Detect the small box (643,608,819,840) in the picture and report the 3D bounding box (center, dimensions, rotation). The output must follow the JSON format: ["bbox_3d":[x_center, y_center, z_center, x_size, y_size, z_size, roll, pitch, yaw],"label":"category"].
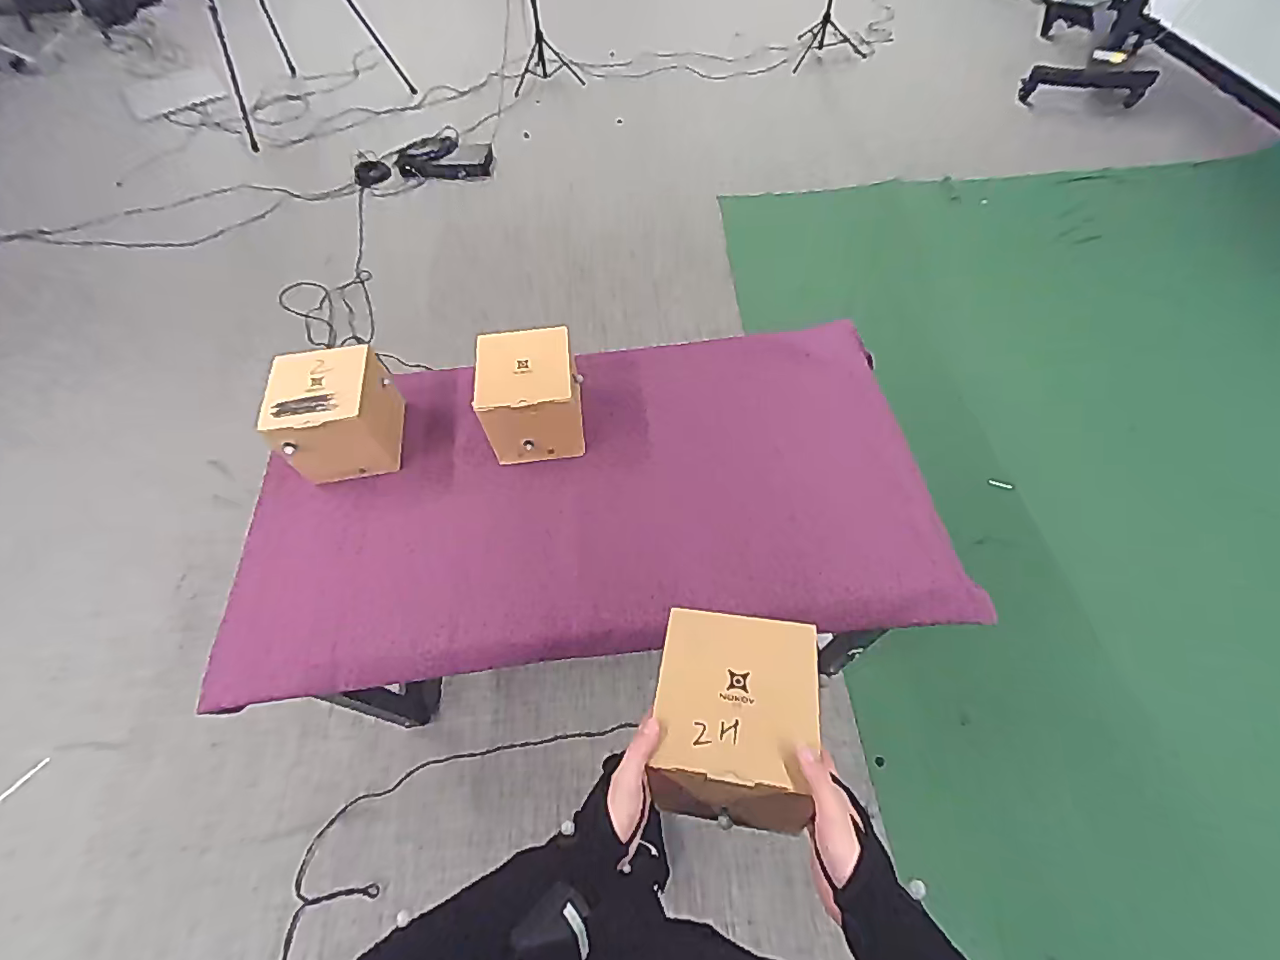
[{"bbox_3d":[0.105,0.272,0.610,0.168,0.176,0.179,4,46,13],"label":"small box"}]

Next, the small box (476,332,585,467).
[{"bbox_3d":[-0.196,-0.146,1.002,0.168,0.176,0.179,-7,59,-2],"label":"small box"}]
